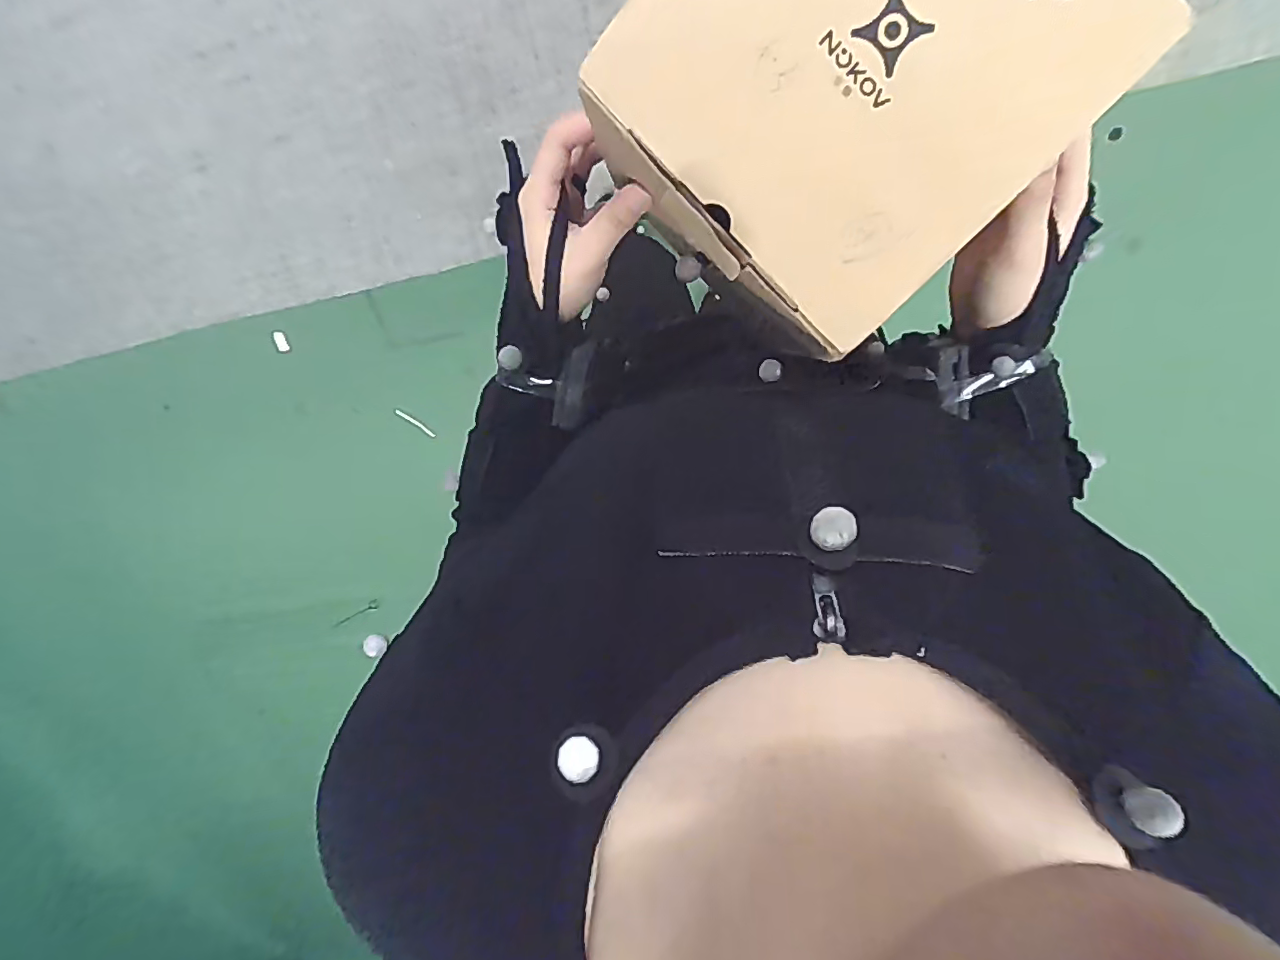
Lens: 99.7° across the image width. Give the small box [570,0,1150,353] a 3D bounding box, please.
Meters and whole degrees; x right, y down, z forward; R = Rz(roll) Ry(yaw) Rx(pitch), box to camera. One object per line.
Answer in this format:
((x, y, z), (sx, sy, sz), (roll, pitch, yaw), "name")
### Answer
((0.091, -0.190, 0.299), (0.168, 0.176, 0.179), (44, 103, -8), "small box")
